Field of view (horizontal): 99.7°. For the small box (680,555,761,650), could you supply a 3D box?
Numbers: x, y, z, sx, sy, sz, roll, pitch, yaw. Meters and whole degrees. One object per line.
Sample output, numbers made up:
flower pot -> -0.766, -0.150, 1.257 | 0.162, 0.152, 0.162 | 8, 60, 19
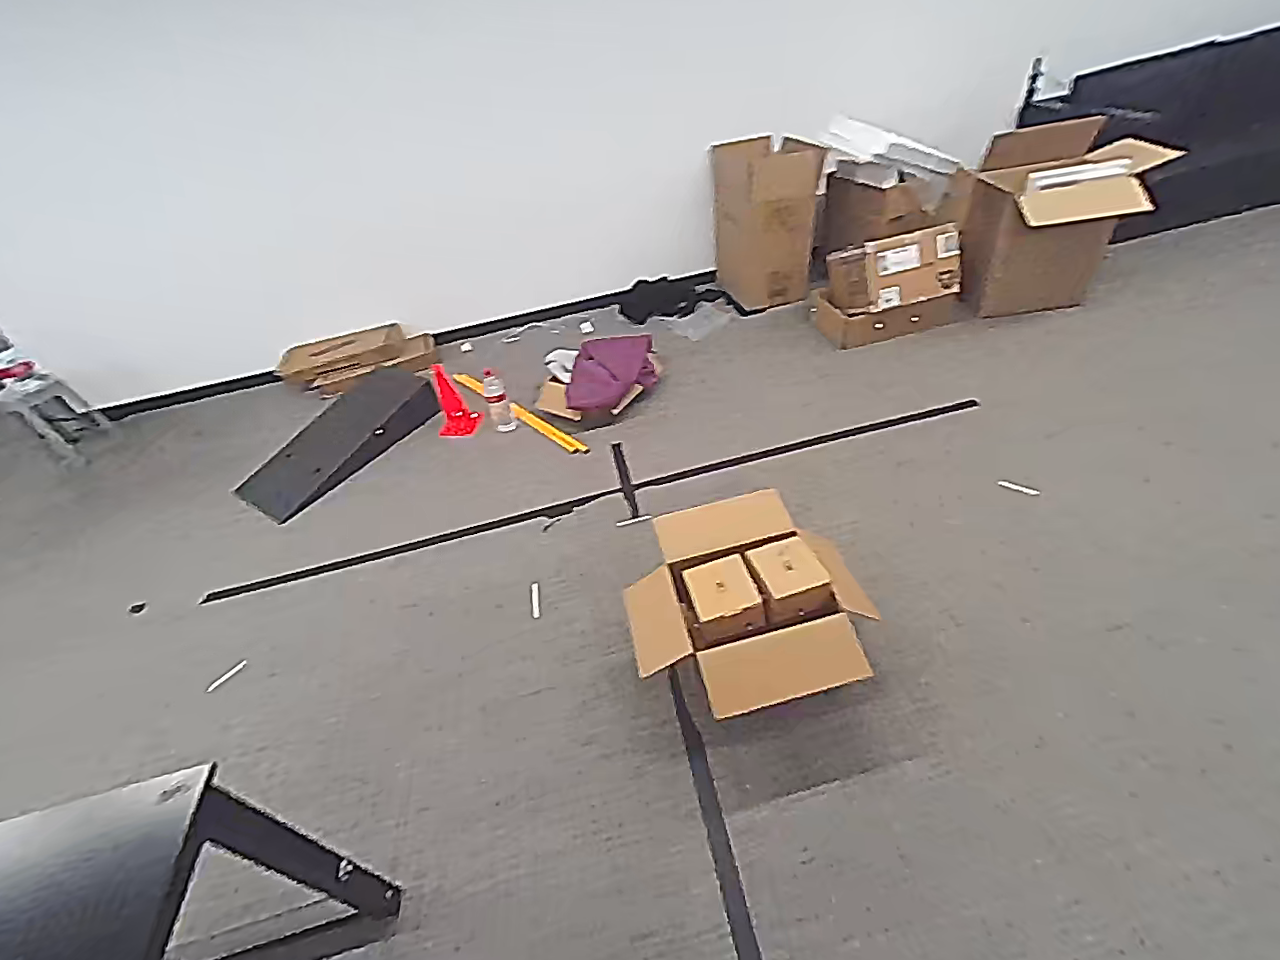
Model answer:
small box -> 0.222, 0.342, 1.480 | 0.168, 0.176, 0.179 | -18, 40, -4

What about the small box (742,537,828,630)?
small box -> 0.393, 0.292, 1.498 | 0.168, 0.176, 0.179 | -15, 41, -11
